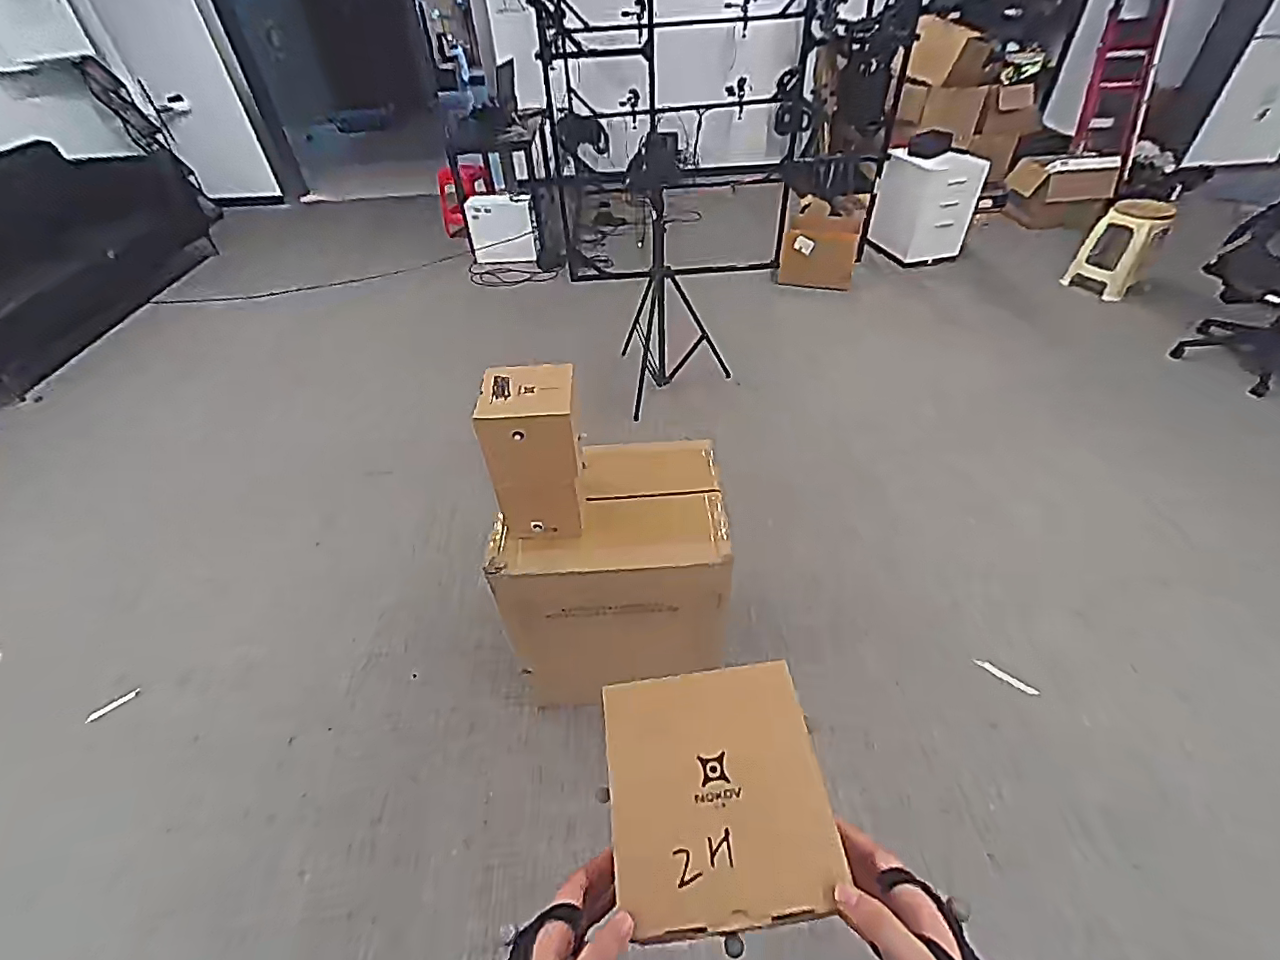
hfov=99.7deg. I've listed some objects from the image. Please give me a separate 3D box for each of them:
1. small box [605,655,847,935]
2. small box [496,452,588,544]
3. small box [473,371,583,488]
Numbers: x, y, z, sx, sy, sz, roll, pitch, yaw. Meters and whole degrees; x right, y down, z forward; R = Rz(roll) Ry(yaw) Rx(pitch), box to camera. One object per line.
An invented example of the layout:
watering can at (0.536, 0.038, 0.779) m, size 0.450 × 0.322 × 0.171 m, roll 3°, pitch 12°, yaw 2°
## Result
small box at (0.062, 0.285, 0.489) m, size 0.168 × 0.176 × 0.179 m, roll -8°, pitch 48°, yaw 0°
small box at (-0.207, 0.019, 1.192) m, size 0.168 × 0.176 × 0.179 m, roll -4°, pitch 45°, yaw 0°
small box at (-0.212, -0.098, 1.076) m, size 0.179 × 0.176 × 0.168 m, roll -3°, pitch 44°, yaw -1°
